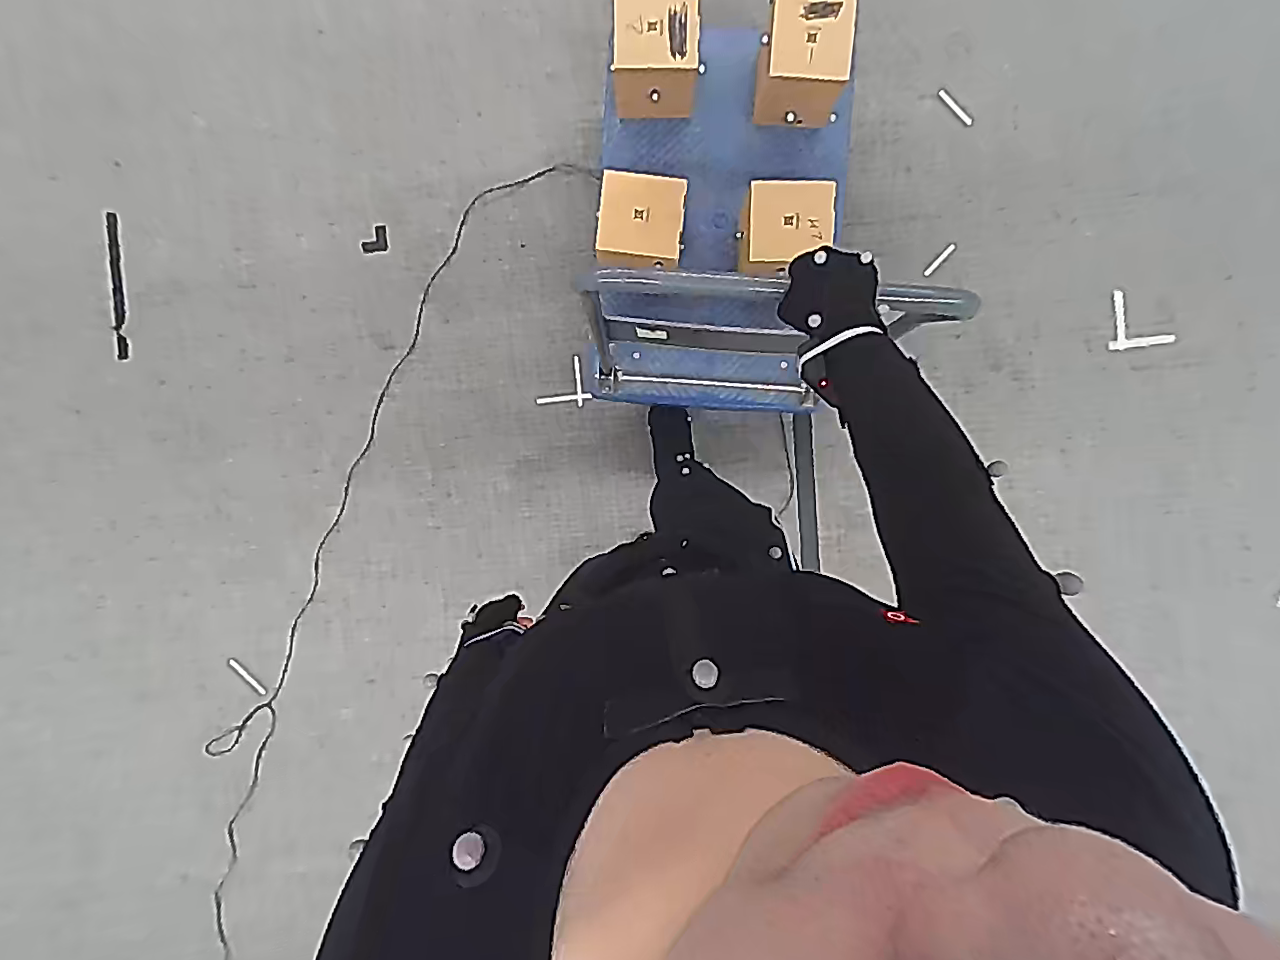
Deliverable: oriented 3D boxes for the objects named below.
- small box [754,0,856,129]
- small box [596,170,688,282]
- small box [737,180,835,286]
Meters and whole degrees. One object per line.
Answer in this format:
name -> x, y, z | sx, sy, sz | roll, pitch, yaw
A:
small box -> 0.349, -0.906, 1.172 | 0.168, 0.176, 0.179 | 4, 94, 0
small box -> 0.004, -0.550, 1.193 | 0.179, 0.176, 0.168 | 6, 92, -1
small box -> 0.313, -0.535, 1.189 | 0.179, 0.176, 0.168 | 1, 93, 1
